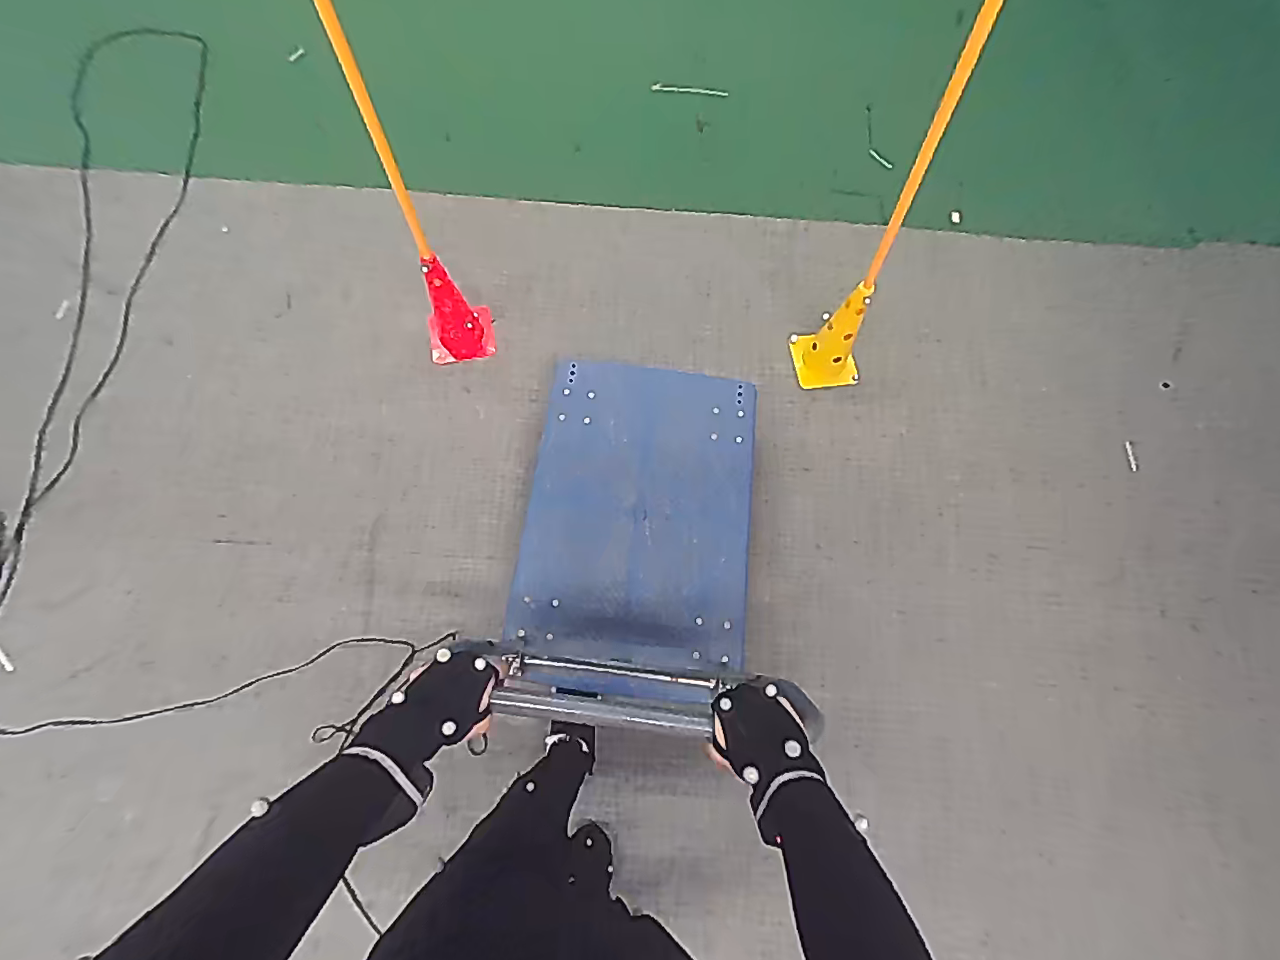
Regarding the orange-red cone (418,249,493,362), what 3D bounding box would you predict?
[{"bbox_3d":[-0.579,-0.536,1.599,0.199,0.360,0.198,-10,70,-4],"label":"orange-red cone"}]
